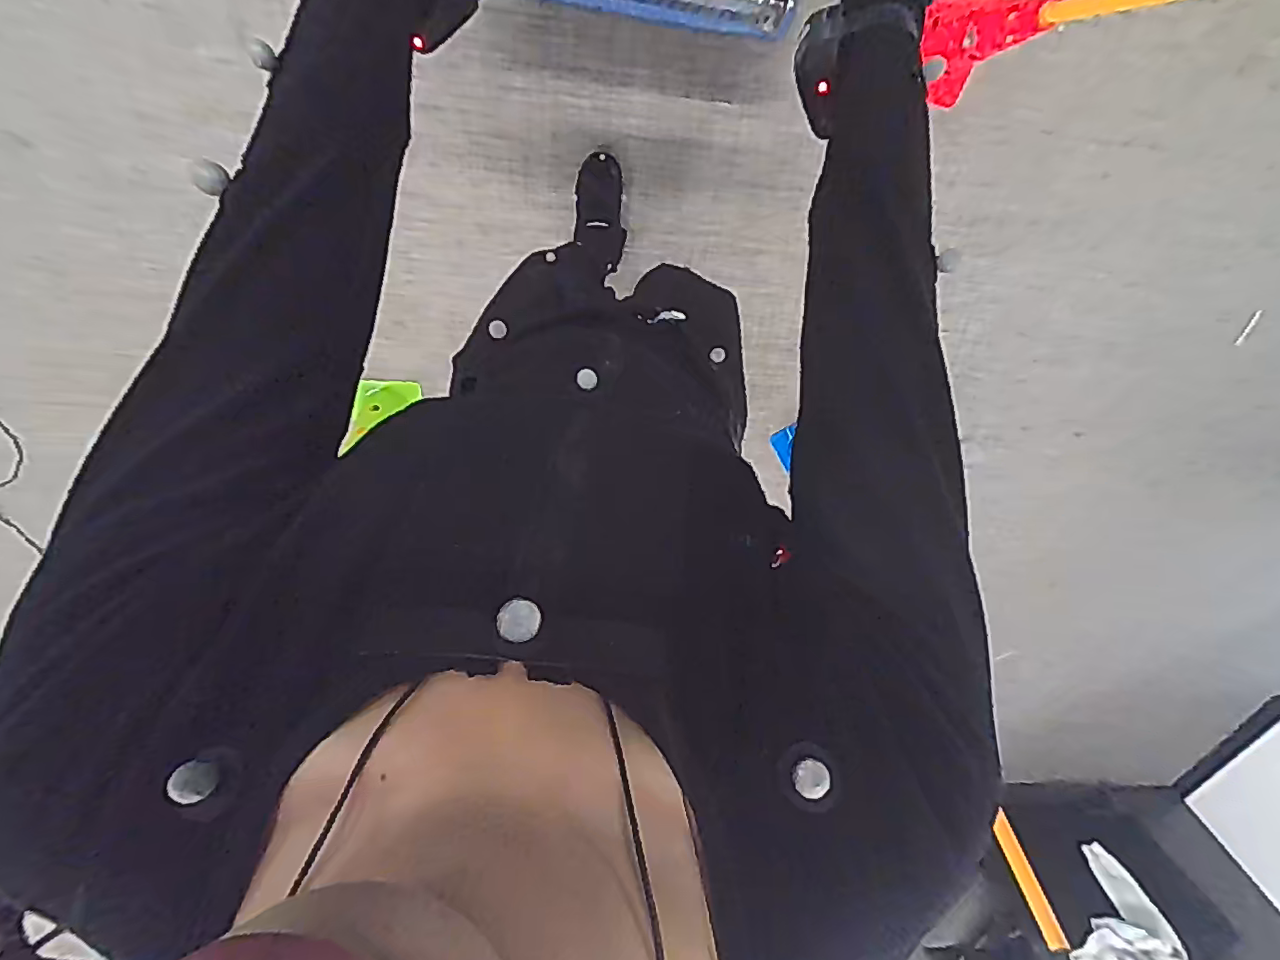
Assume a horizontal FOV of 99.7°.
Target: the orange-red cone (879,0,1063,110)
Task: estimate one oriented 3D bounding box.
[{"bbox_3d":[0.633,-0.819,0.988,0.198,0.360,0.199,13,122,-11],"label":"orange-red cone"}]
